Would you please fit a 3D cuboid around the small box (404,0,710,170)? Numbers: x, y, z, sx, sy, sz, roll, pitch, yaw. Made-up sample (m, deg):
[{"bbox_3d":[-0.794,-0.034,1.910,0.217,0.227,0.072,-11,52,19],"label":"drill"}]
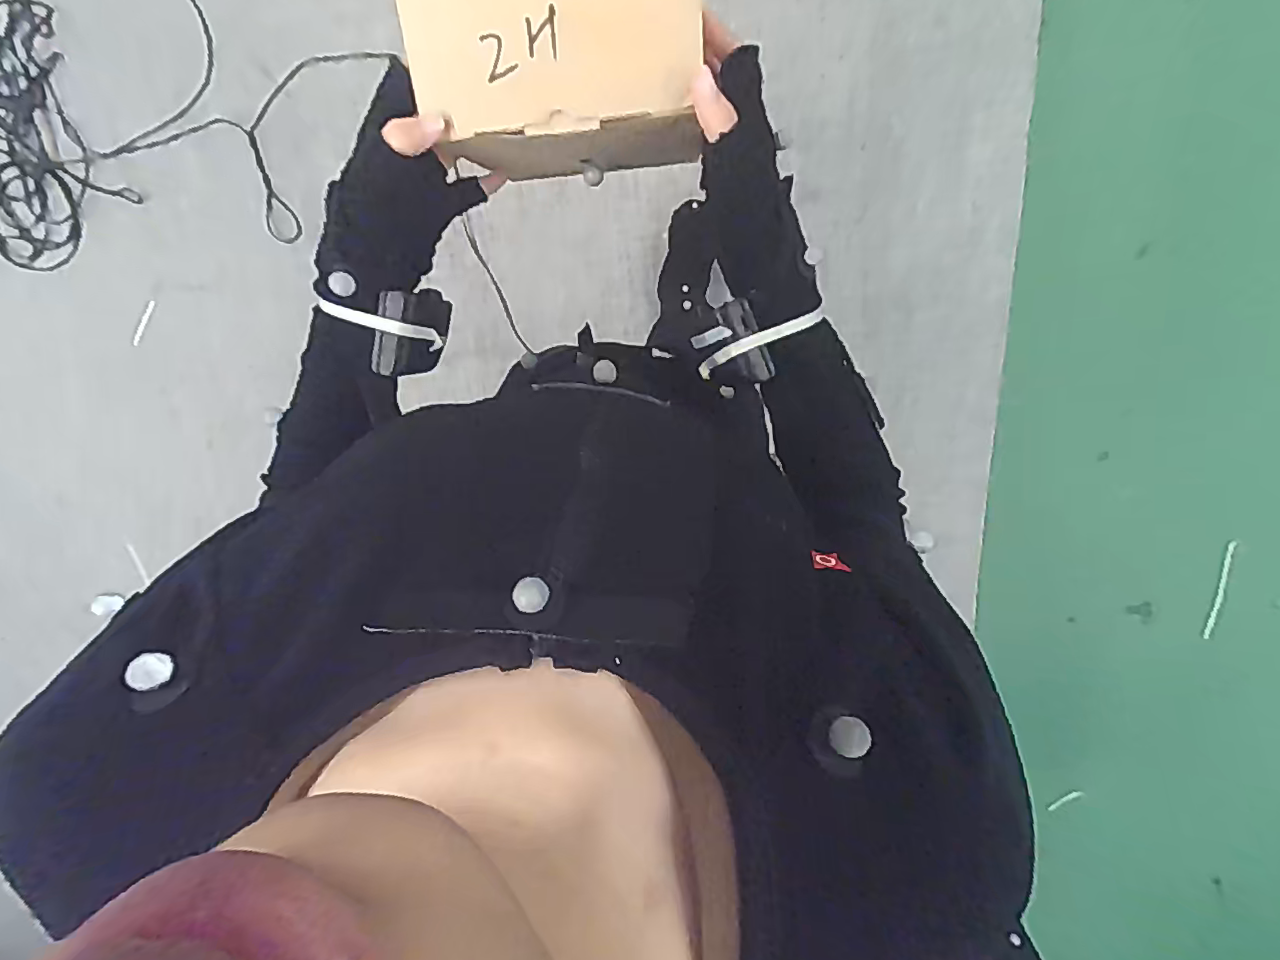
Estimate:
[{"bbox_3d":[-0.042,-0.321,0.349,0.168,0.176,0.179,-2,110,6],"label":"small box"}]
